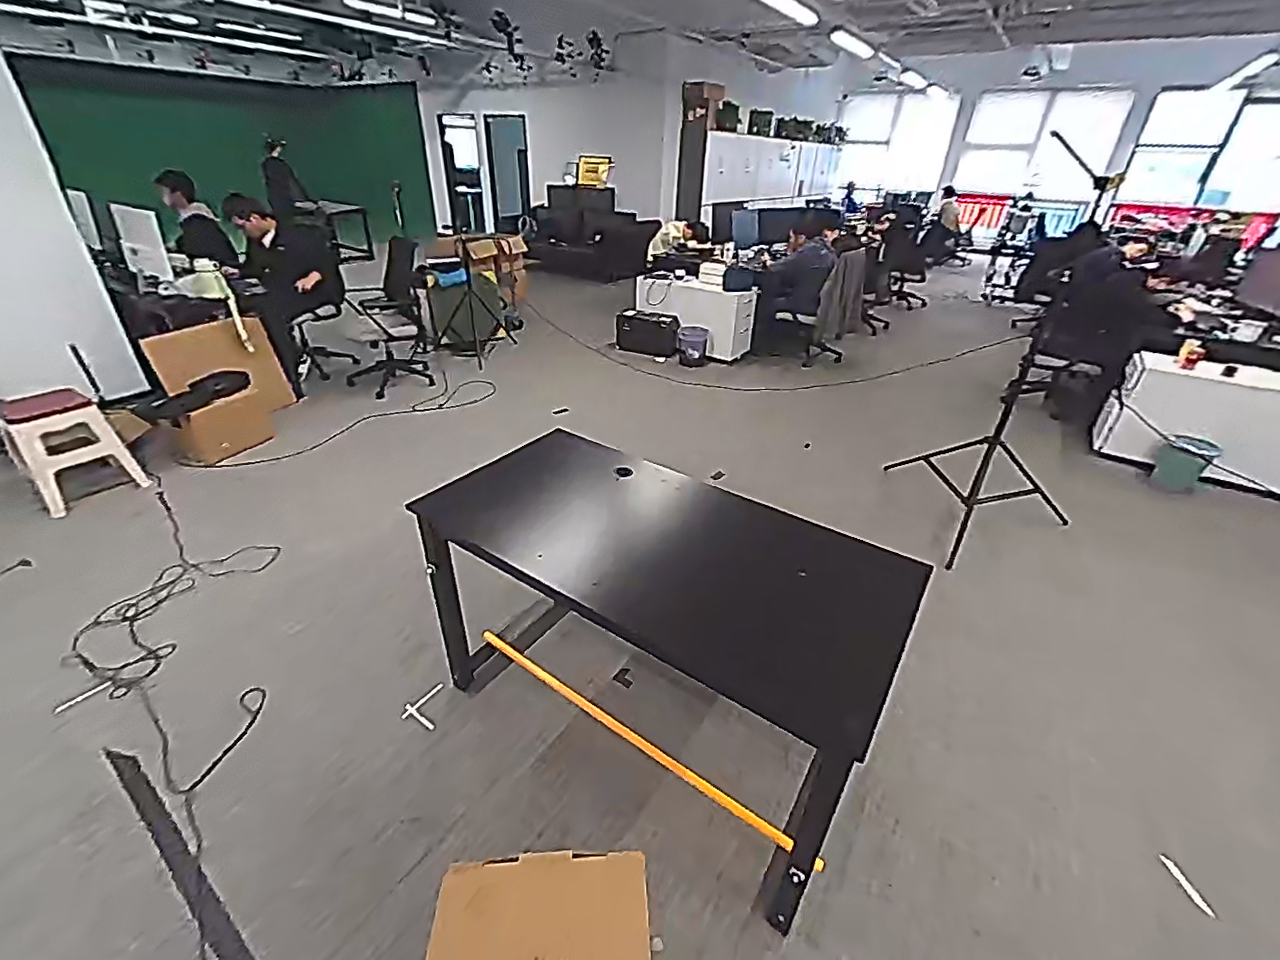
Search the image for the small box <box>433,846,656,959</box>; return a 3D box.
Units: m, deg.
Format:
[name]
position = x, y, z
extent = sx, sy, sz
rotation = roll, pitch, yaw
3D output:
[small box]
position = -0.072, 0.425, 0.426
extent = 0.168, 0.176, 0.179
rotation = -1, 36, -5
